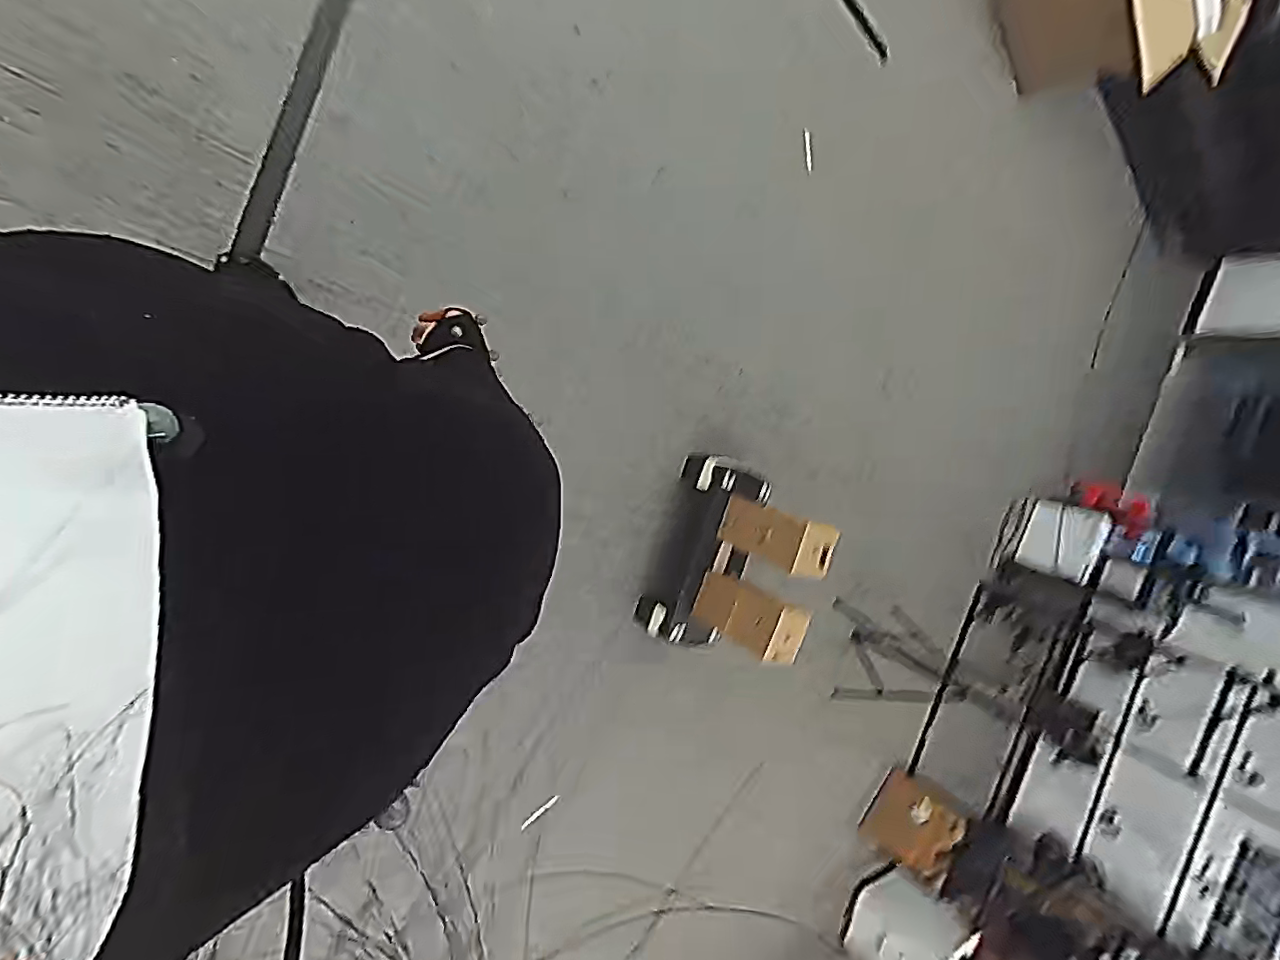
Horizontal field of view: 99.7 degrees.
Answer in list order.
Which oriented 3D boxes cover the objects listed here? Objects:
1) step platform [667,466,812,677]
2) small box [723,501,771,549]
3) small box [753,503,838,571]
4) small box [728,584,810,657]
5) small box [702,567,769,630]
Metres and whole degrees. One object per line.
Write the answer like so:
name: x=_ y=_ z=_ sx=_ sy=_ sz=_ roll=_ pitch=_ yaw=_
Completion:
step platform: x=0.331 y=0.297 z=1.818 sx=0.286 sy=0.204 sz=0.684 roll=16 pitch=94 yaw=-38
small box: x=0.400 y=0.145 z=1.867 sx=0.179 sy=0.176 sz=0.168 roll=16 pitch=93 yaw=-37
small box: x=0.497 y=0.181 z=1.740 sx=0.179 sy=0.176 sz=0.168 roll=14 pitch=95 yaw=-37
small box: x=0.417 y=0.455 z=1.765 sx=0.168 sy=0.176 sz=0.179 roll=21 pitch=90 yaw=-38
small box: x=0.310 y=0.410 z=1.881 sx=0.168 sy=0.176 sz=0.179 roll=17 pitch=93 yaw=-39
